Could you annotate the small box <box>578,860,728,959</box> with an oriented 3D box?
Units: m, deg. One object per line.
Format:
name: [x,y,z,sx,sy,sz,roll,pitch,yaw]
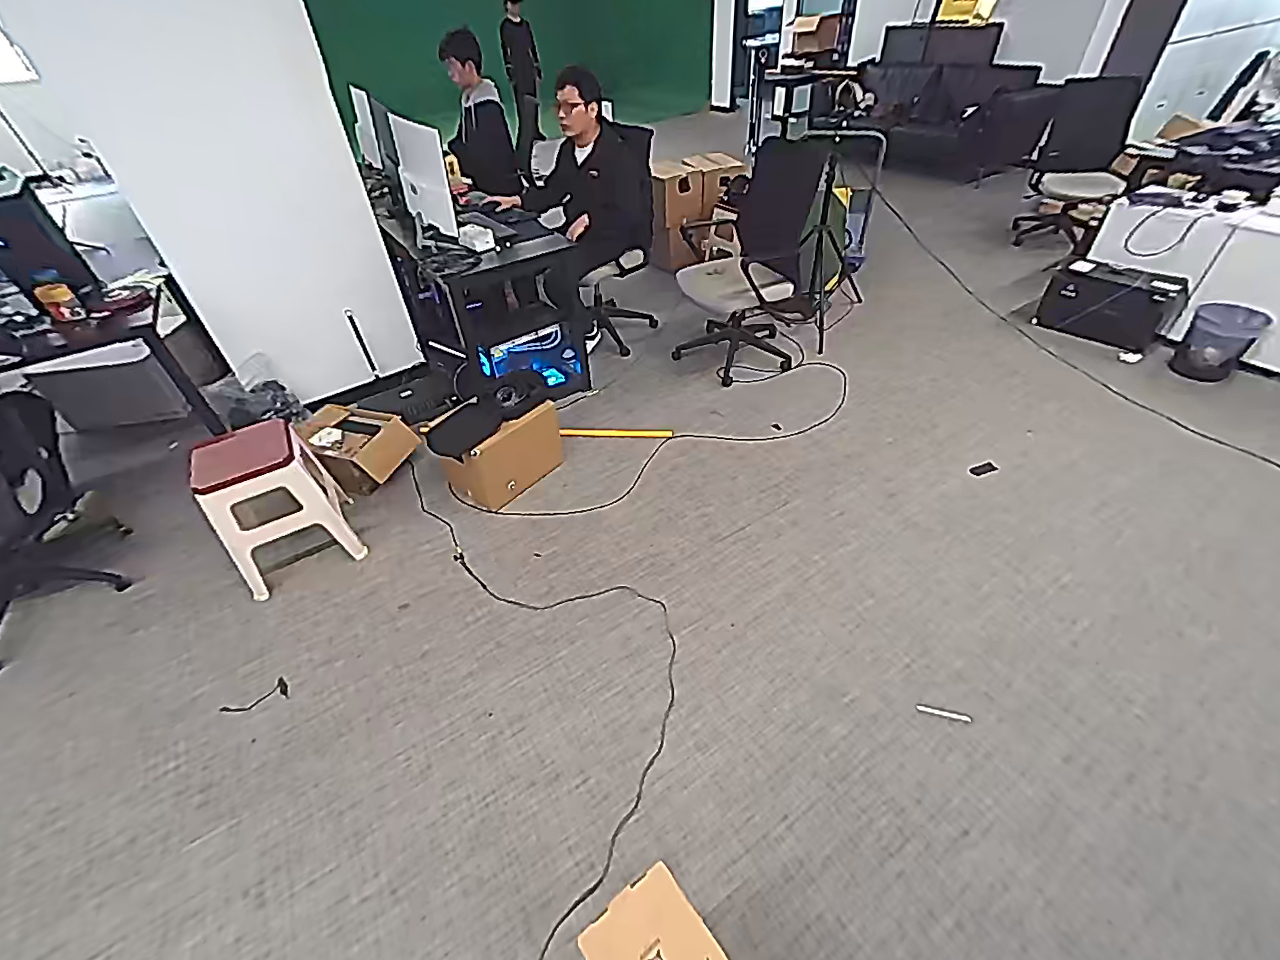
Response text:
small box: [0.025,0.746,0.833,0.168,0.176,0.179,-29,48,-25]
